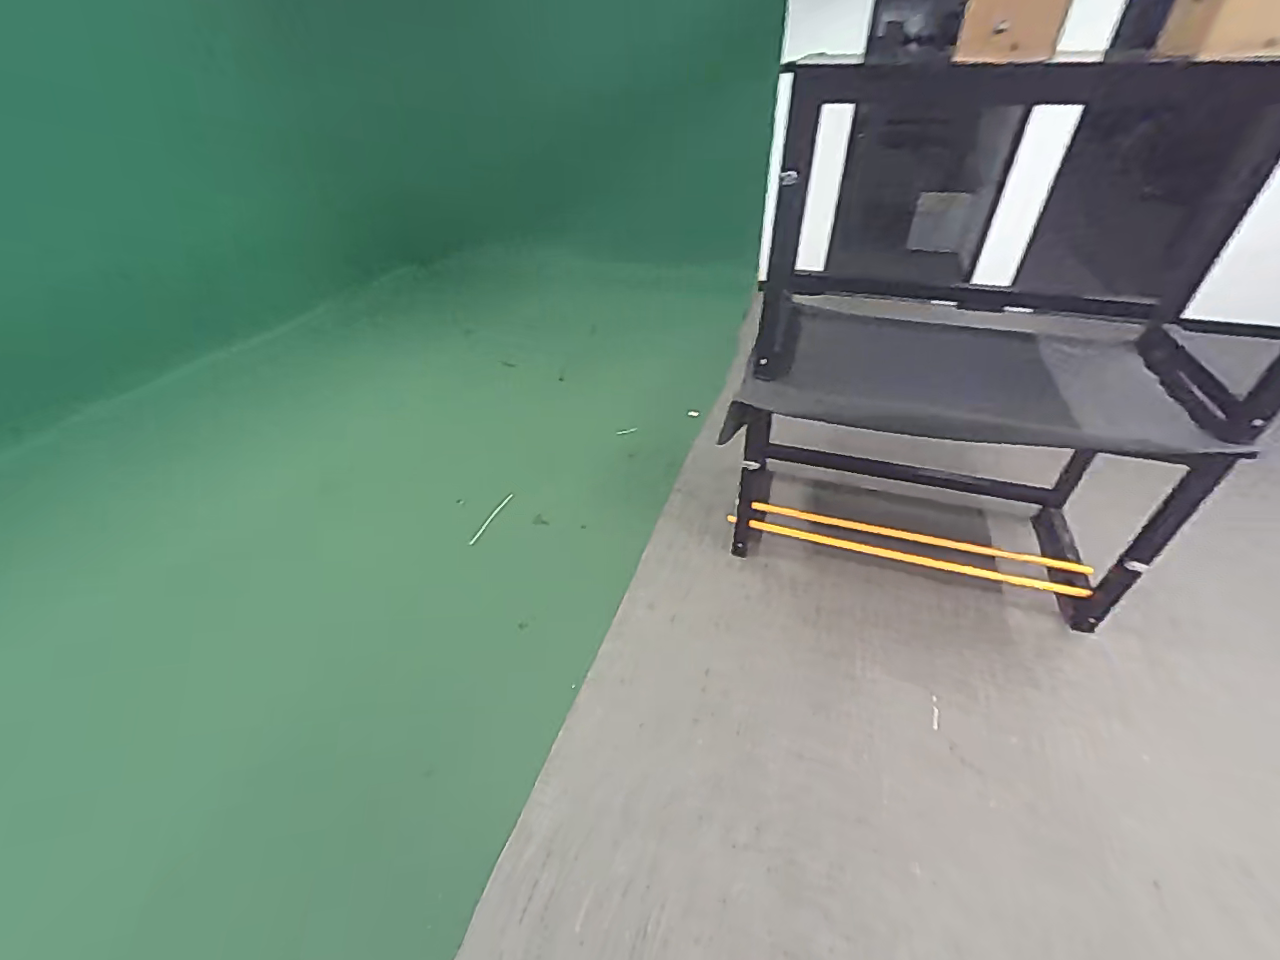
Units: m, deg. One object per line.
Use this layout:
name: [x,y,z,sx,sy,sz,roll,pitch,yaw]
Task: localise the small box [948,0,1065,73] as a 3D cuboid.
small box: [0.730,-0.919,1.071,0.168,0.176,0.179,17,42,21]
